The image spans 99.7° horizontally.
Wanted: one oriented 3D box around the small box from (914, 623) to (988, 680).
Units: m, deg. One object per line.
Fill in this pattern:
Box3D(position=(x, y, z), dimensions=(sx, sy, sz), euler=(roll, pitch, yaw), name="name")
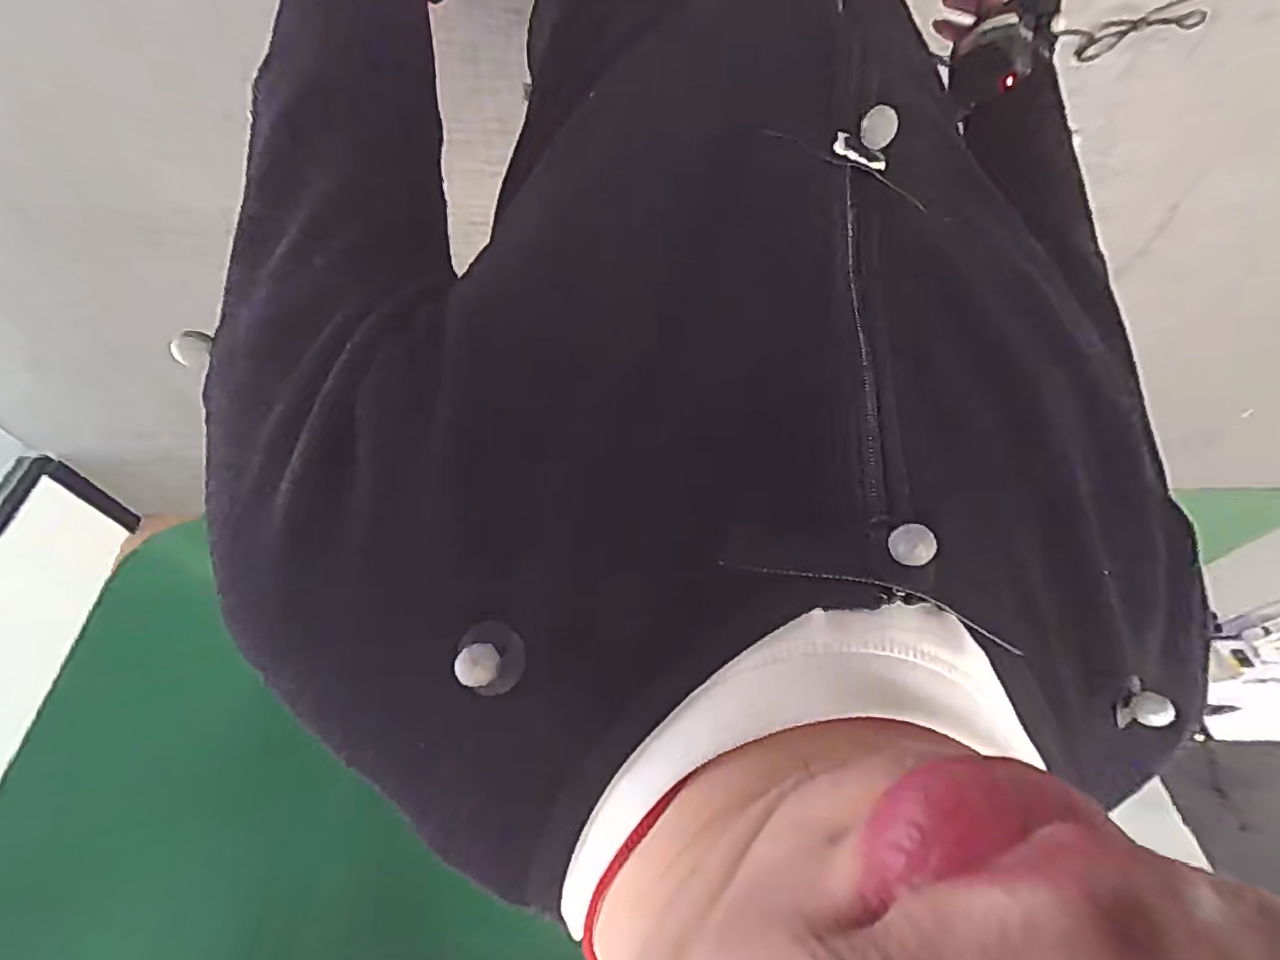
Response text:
Box3D(position=(1.198, 0.663, 2.103), dimensions=(0.168, 0.176, 0.179), euler=(-5, 145, -2), name="small box")
